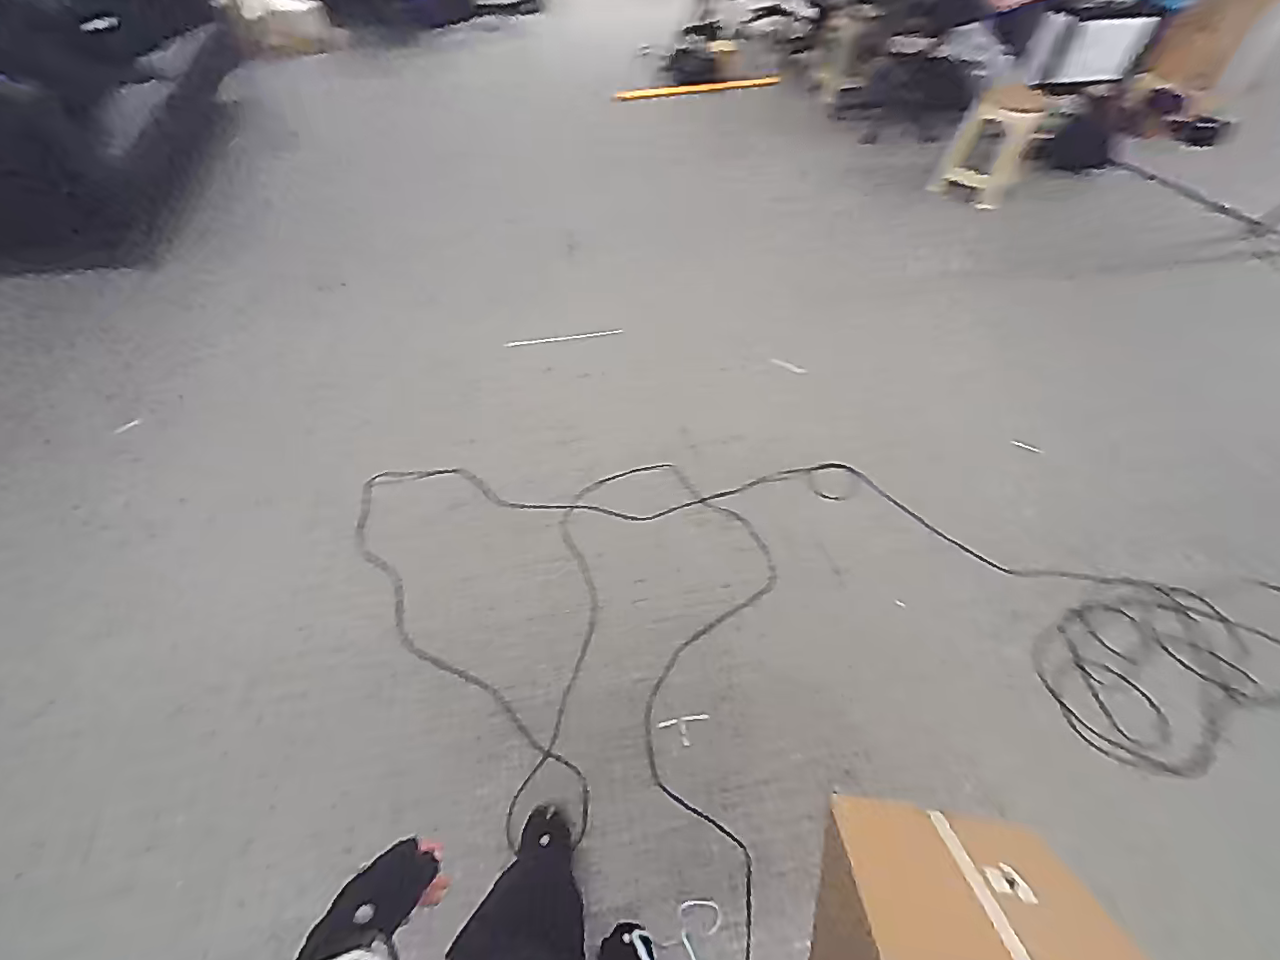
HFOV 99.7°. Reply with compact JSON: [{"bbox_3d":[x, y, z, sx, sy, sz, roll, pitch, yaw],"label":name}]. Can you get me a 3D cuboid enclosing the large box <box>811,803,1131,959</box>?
[{"bbox_3d":[0.412,0.694,0.666,0.320,0.408,0.320,8,93,8],"label":"large box"}]
